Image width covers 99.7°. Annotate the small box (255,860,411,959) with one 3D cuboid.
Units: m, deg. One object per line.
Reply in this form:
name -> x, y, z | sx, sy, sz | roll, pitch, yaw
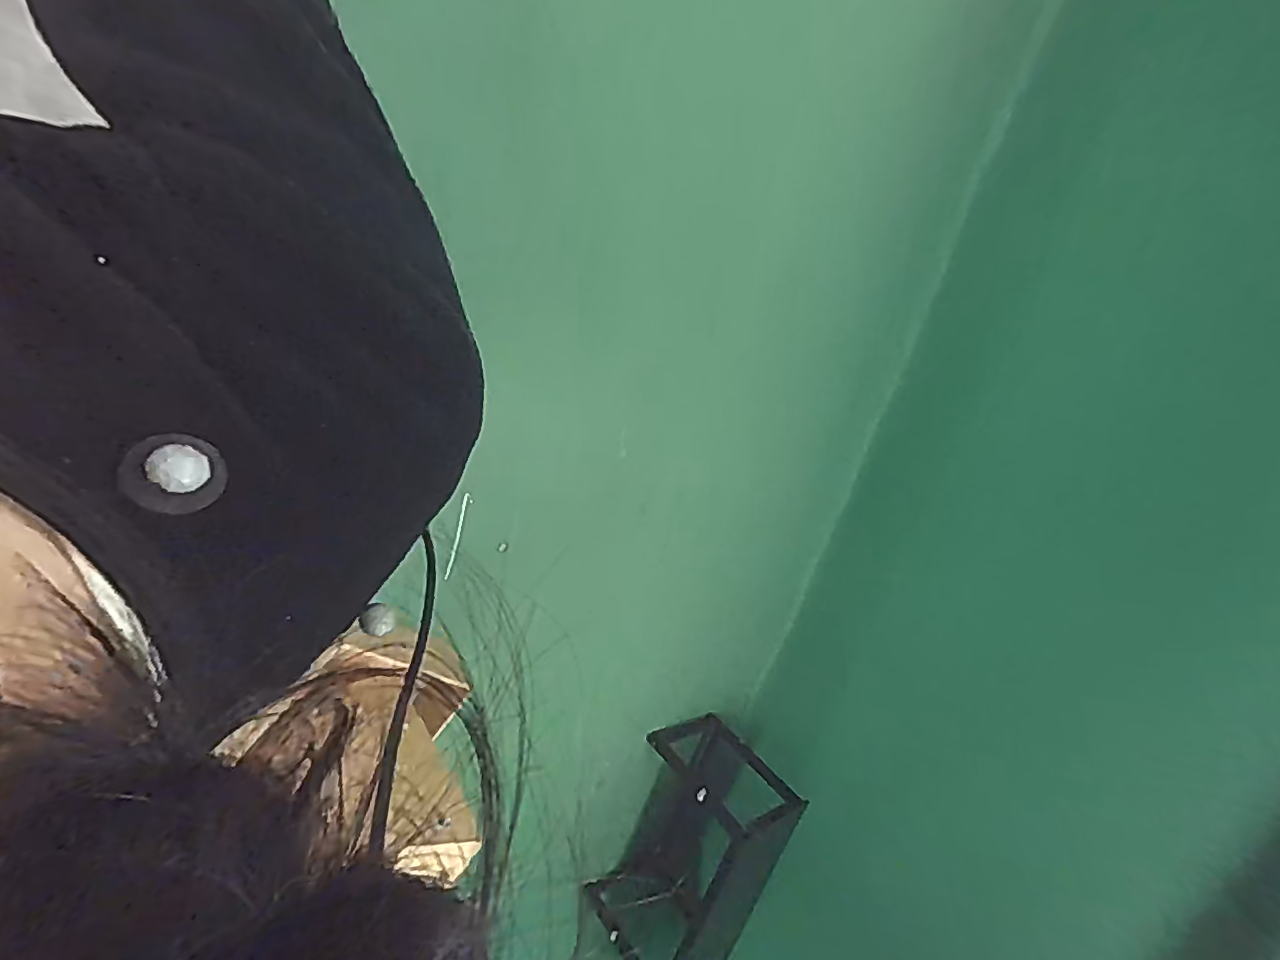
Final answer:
small box -> -0.545, 0.810, 0.952 | 0.168, 0.176, 0.179 | 28, 91, -47
